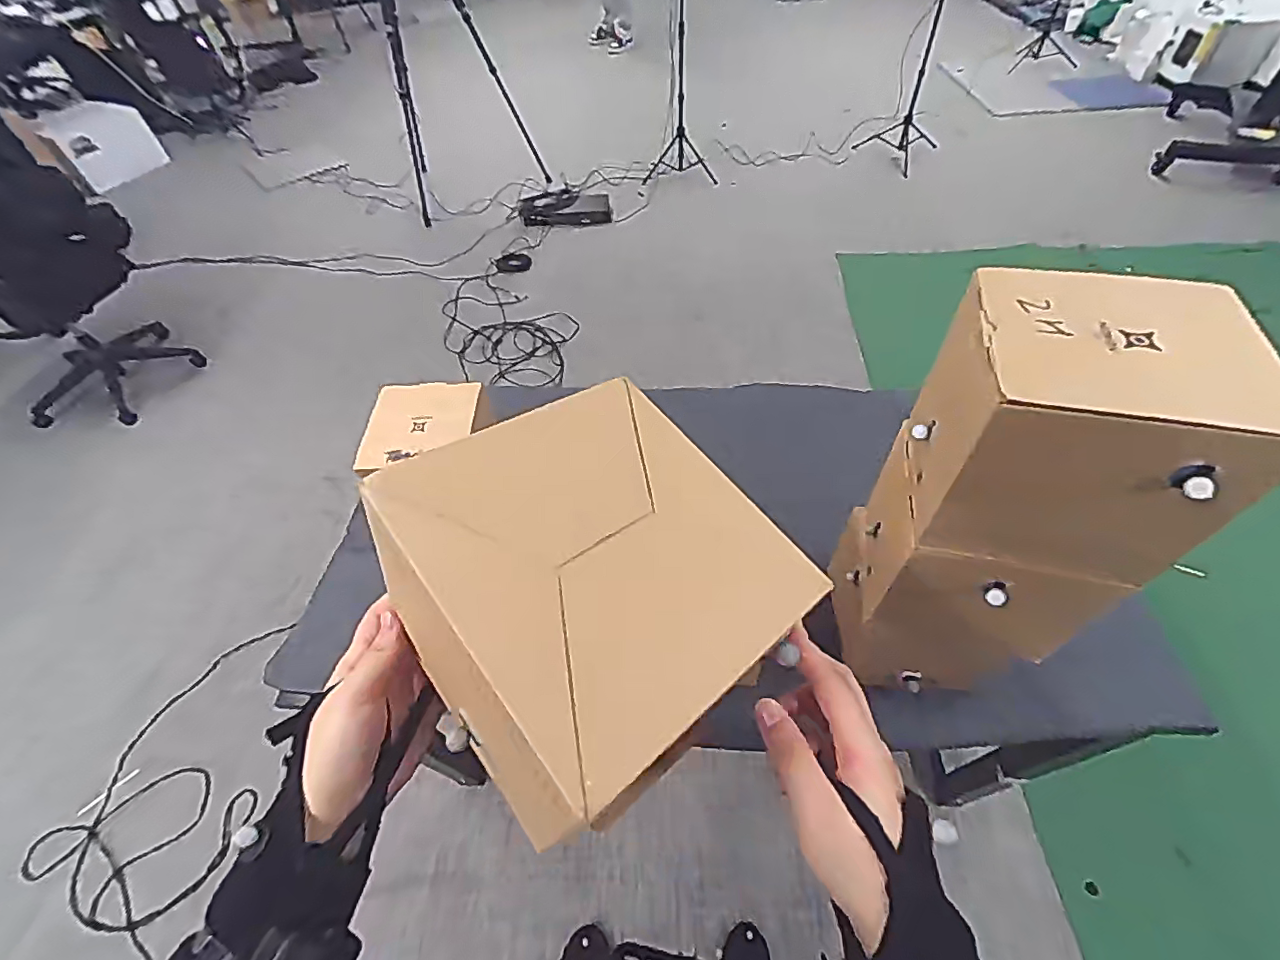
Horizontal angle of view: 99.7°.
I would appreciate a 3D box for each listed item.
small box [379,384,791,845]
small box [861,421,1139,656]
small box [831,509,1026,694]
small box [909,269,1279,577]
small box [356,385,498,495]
[{"bbox_3d":[-0.036,0.076,0.324,0.168,0.176,0.179,-29,67,-34],"label":"small box"},{"bbox_3d":[0.342,0.064,0.558,0.179,0.176,0.168,8,52,13],"label":"small box"},{"bbox_3d":[0.353,0.155,0.692,0.168,0.176,0.179,0,51,5],"label":"small box"},{"bbox_3d":[0.335,-0.042,0.432,0.179,0.176,0.168,10,52,14],"label":"small box"},{"bbox_3d":[-0.329,-0.036,0.894,0.168,0.176,0.179,-2,52,2],"label":"small box"}]
